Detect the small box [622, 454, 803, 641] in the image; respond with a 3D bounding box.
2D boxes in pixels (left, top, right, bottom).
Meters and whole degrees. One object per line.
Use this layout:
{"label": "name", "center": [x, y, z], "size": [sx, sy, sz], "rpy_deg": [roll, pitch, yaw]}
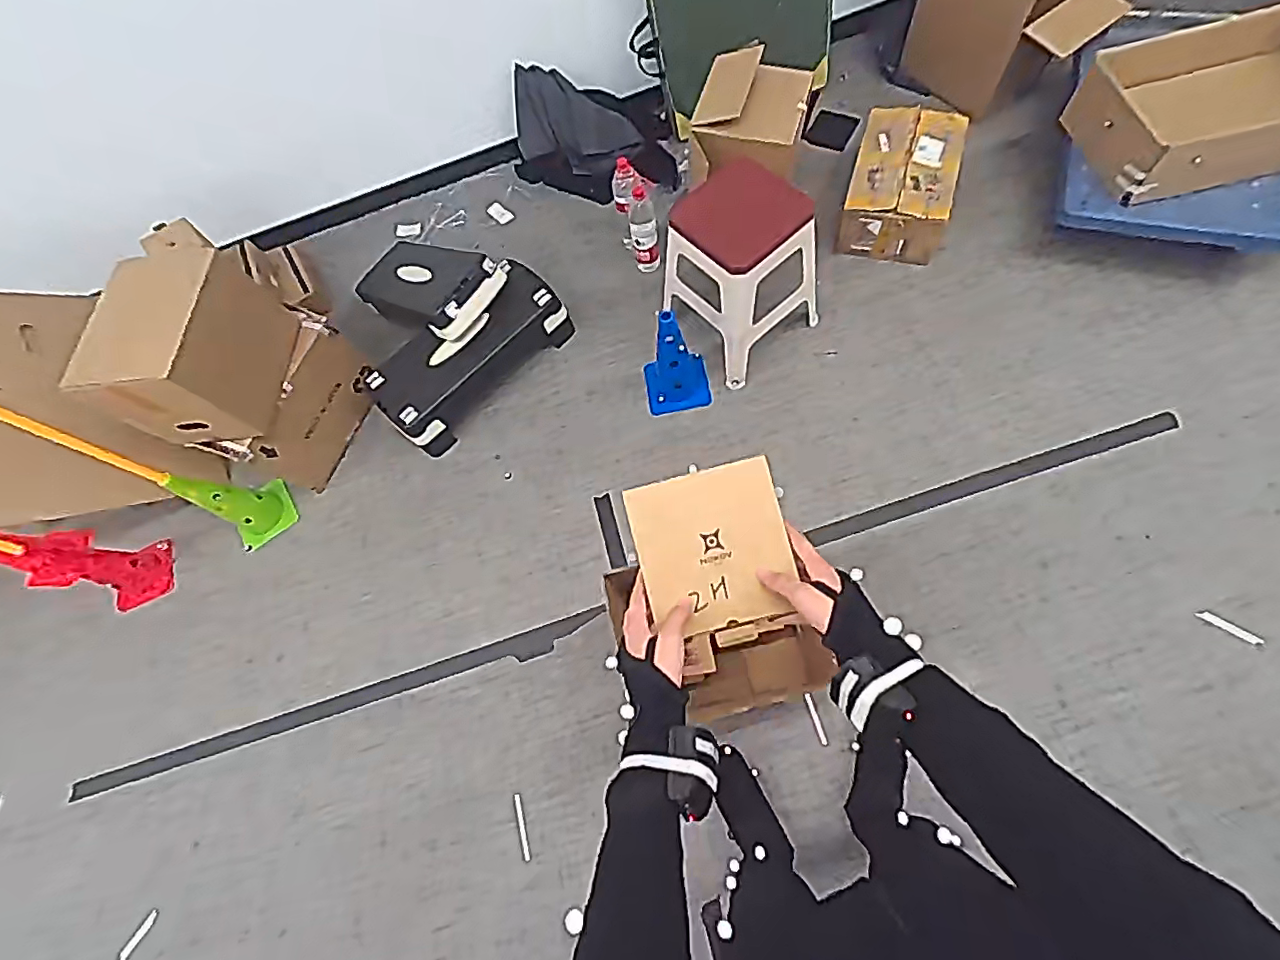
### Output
{"label": "small box", "center": [0.082, 0.080, 0.669], "size": [0.168, 0.176, 0.179], "rpy_deg": [-15, 86, 3]}
